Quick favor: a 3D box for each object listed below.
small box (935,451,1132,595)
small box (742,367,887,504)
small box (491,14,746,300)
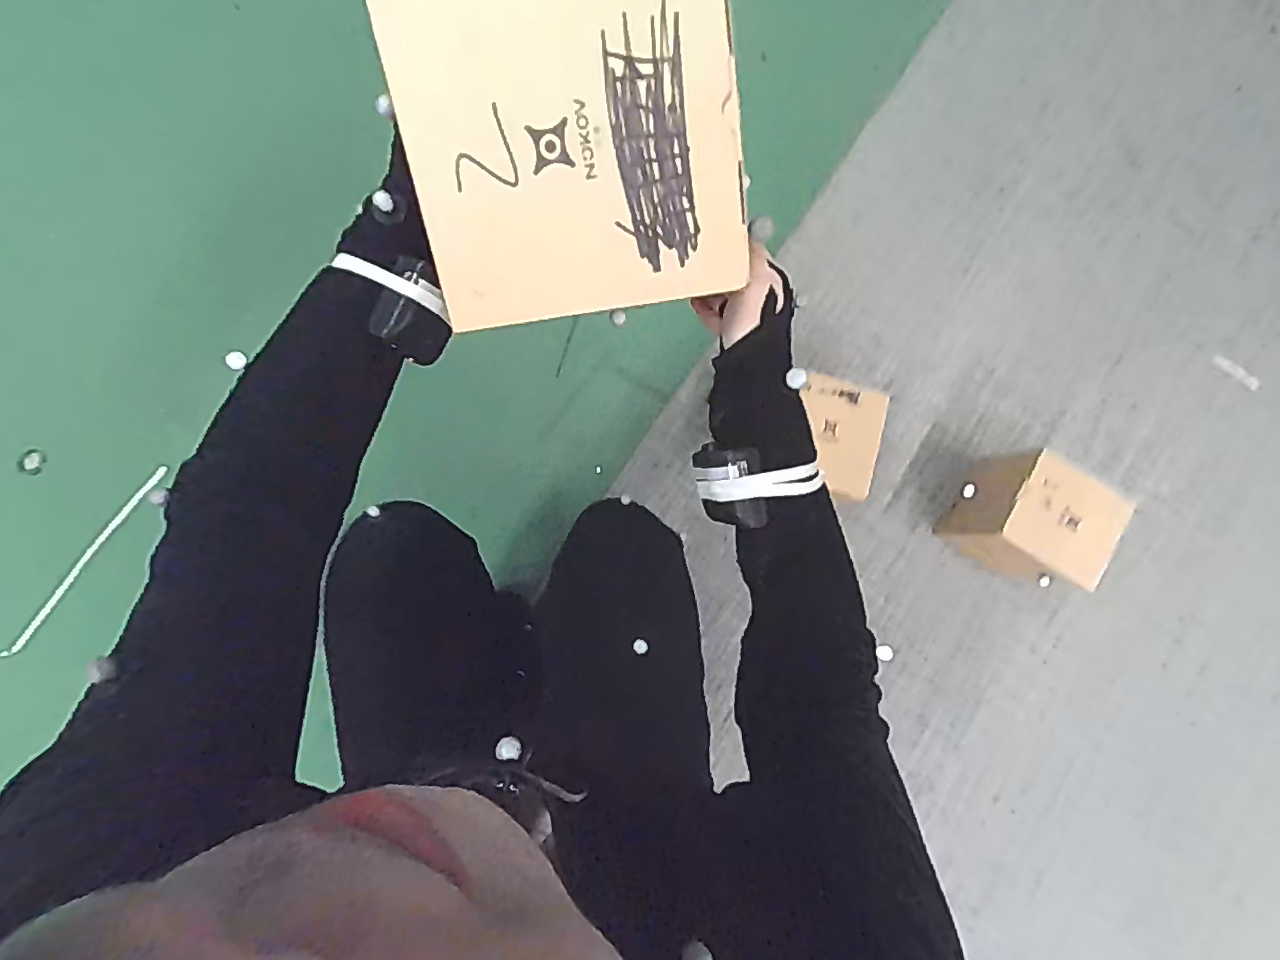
[{"bbox_3d":[0.656,0.071,0.922,0.179,0.176,0.168,33,83,-2],"label":"small box"},{"bbox_3d":[0.282,-0.064,0.914,0.168,0.176,0.179,17,84,-2],"label":"small box"},{"bbox_3d":[-0.004,-0.266,0.491,0.179,0.176,0.168,-9,110,11],"label":"small box"}]
